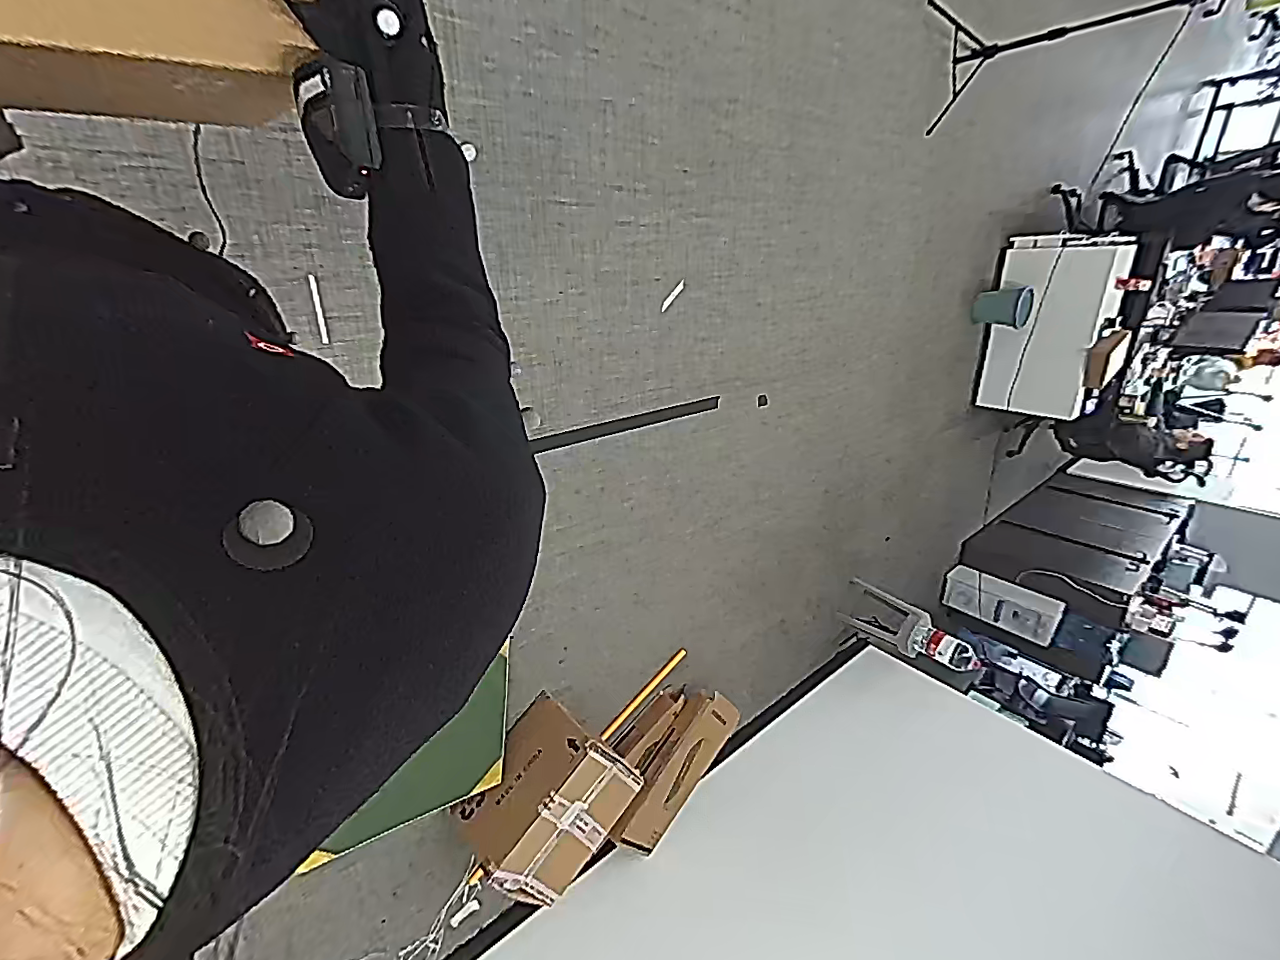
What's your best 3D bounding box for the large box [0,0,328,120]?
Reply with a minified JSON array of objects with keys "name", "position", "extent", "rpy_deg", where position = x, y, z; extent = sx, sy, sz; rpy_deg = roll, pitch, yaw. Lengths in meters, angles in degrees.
[{"name":"large box","position":[-0.456,-0.398,0.281],"extent":[0.408,0.320,0.320],"rpy_deg":[-21,125,-35]}]
